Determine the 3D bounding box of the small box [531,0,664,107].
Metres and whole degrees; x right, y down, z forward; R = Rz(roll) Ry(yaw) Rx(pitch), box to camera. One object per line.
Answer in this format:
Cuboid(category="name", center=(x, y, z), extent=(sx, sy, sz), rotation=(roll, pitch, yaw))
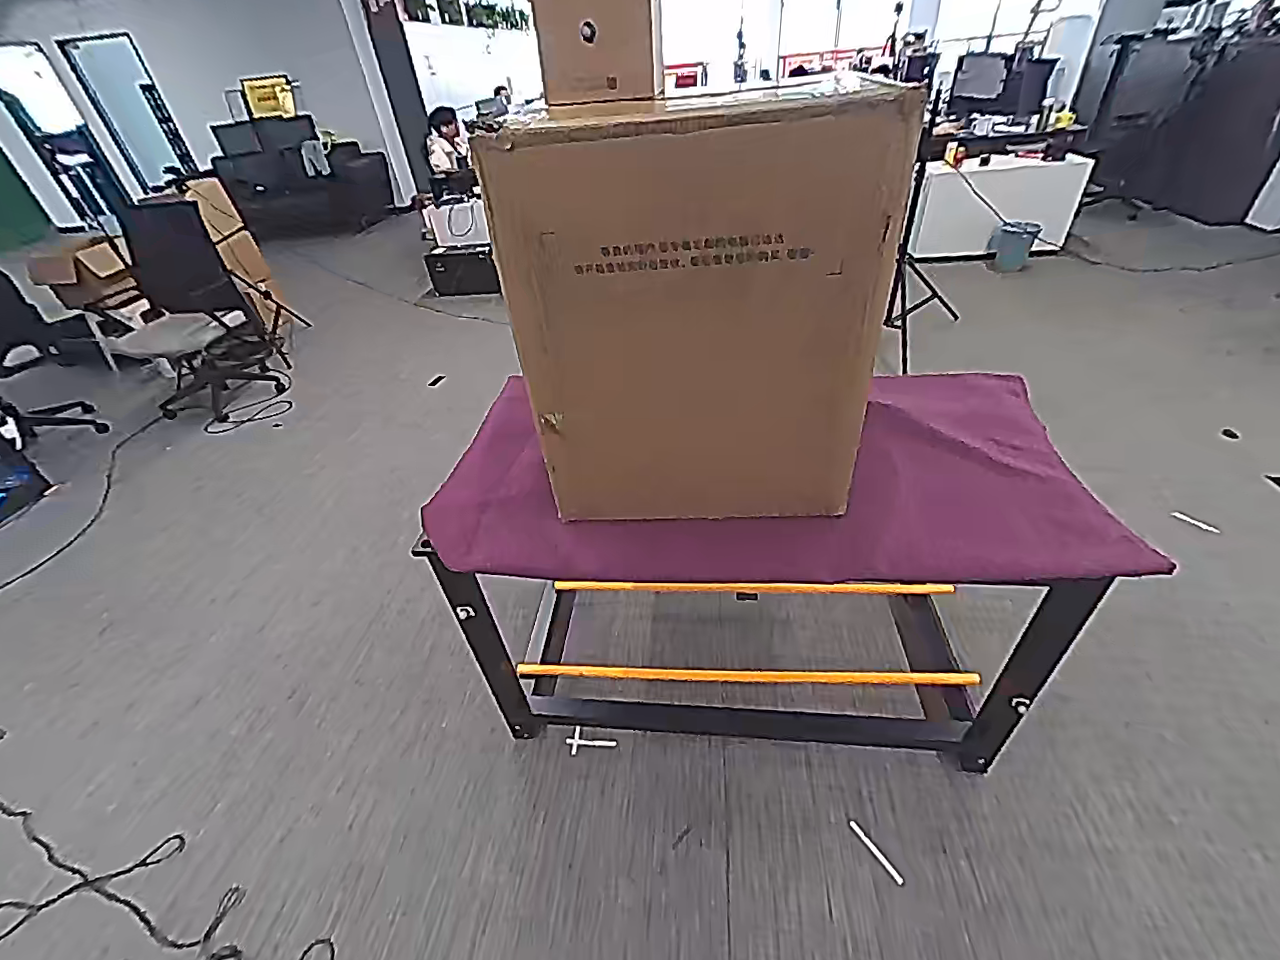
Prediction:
Cuboid(category="small box", center=(-0.054, -0.665, 0.807), extent=(0.168, 0.176, 0.179), rotation=(2, 38, 8))
